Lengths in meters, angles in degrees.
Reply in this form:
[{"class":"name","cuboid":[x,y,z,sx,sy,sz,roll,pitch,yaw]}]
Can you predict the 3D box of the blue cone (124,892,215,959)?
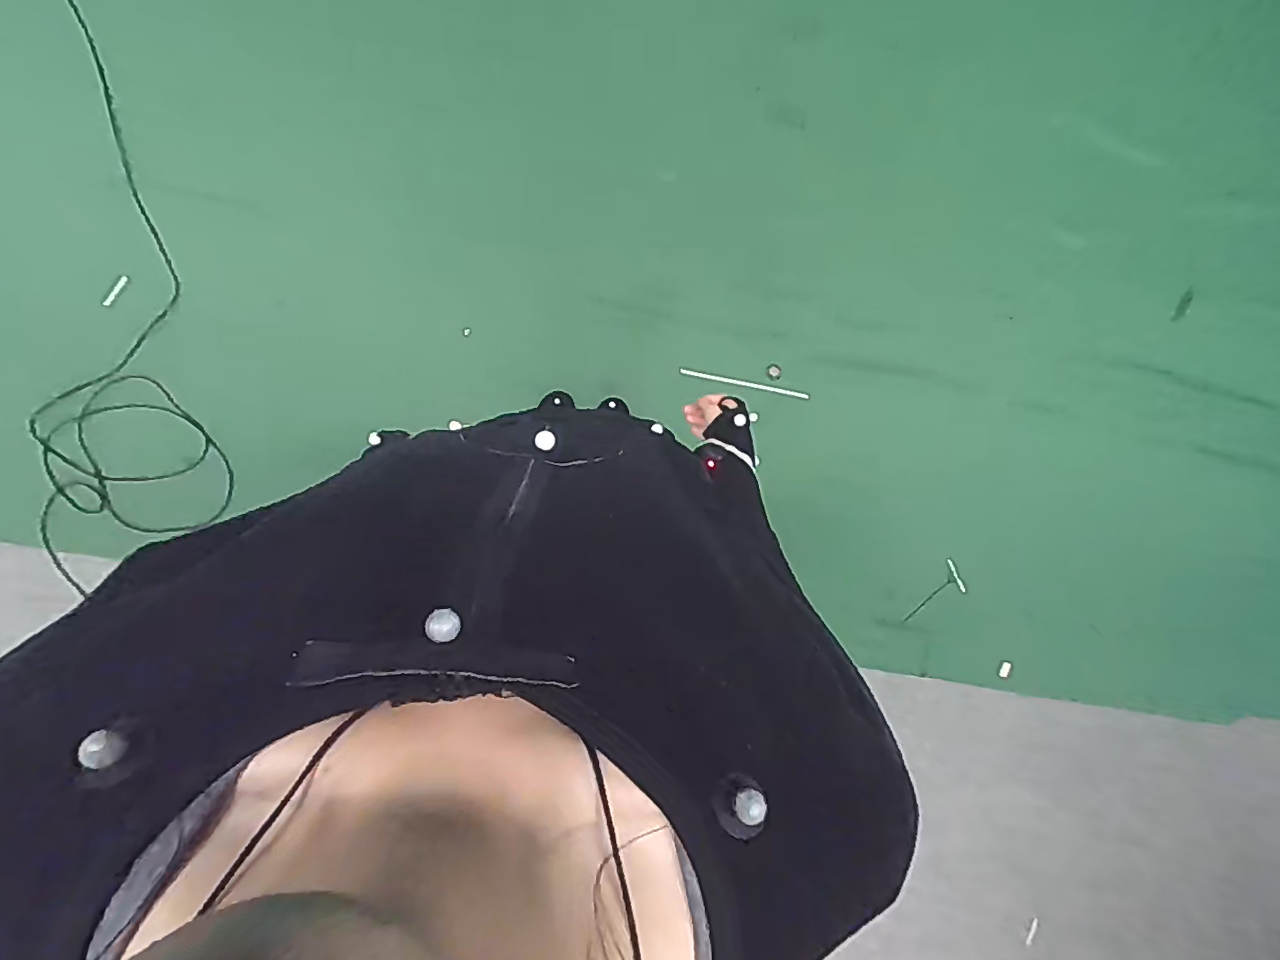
[{"class":"blue cone","cuboid":[-1.371,1.358,1.443,0.193,0.380,0.192,-33,103,3]}]
